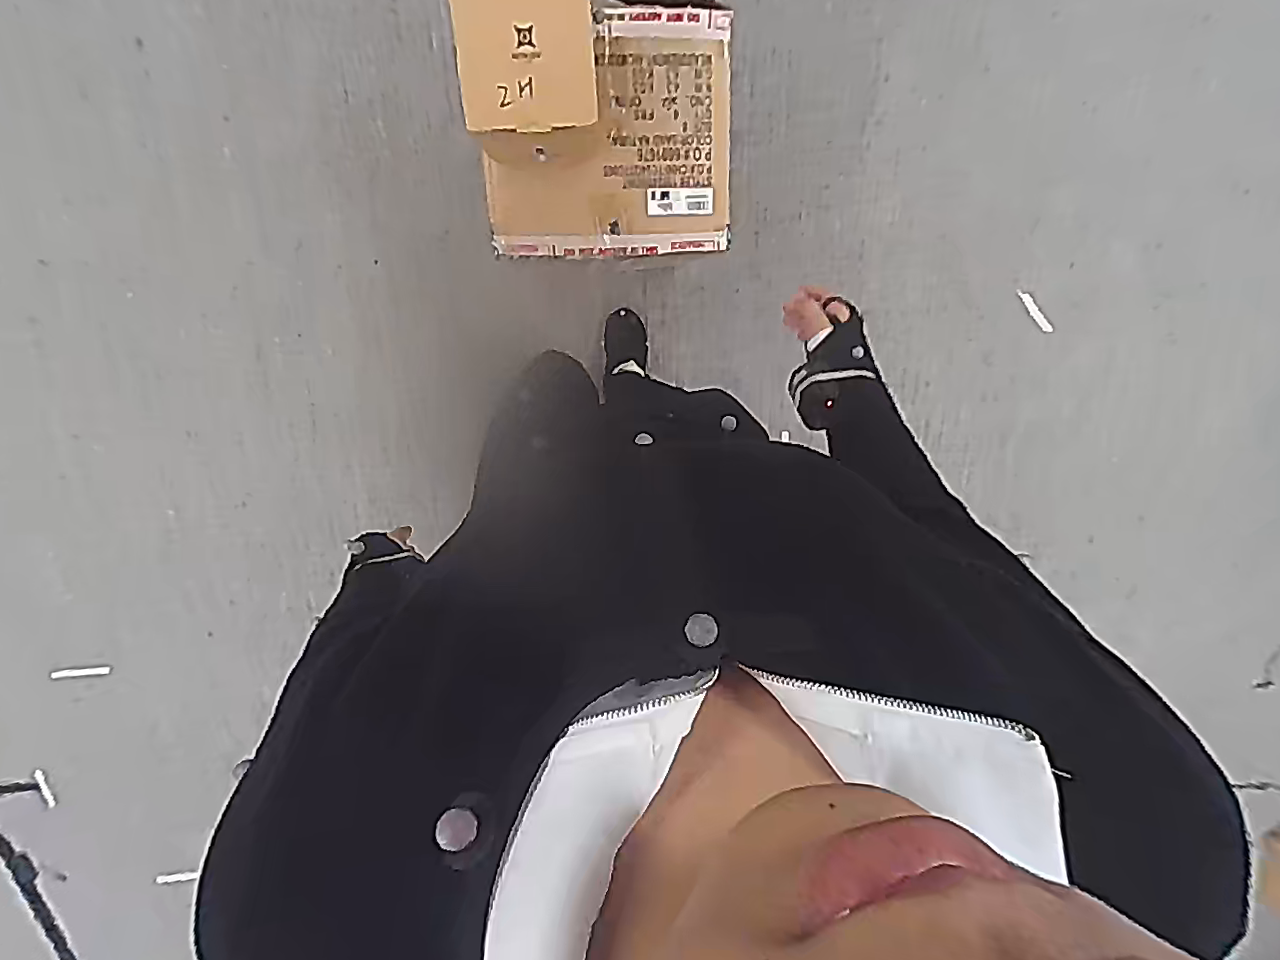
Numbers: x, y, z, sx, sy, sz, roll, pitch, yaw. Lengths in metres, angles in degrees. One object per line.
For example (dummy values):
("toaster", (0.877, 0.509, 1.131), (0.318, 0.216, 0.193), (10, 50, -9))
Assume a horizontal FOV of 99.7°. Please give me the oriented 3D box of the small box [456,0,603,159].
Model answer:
("small box", (-0.138, -0.550, 0.725), (0.168, 0.176, 0.179), (-4, 111, -2))
